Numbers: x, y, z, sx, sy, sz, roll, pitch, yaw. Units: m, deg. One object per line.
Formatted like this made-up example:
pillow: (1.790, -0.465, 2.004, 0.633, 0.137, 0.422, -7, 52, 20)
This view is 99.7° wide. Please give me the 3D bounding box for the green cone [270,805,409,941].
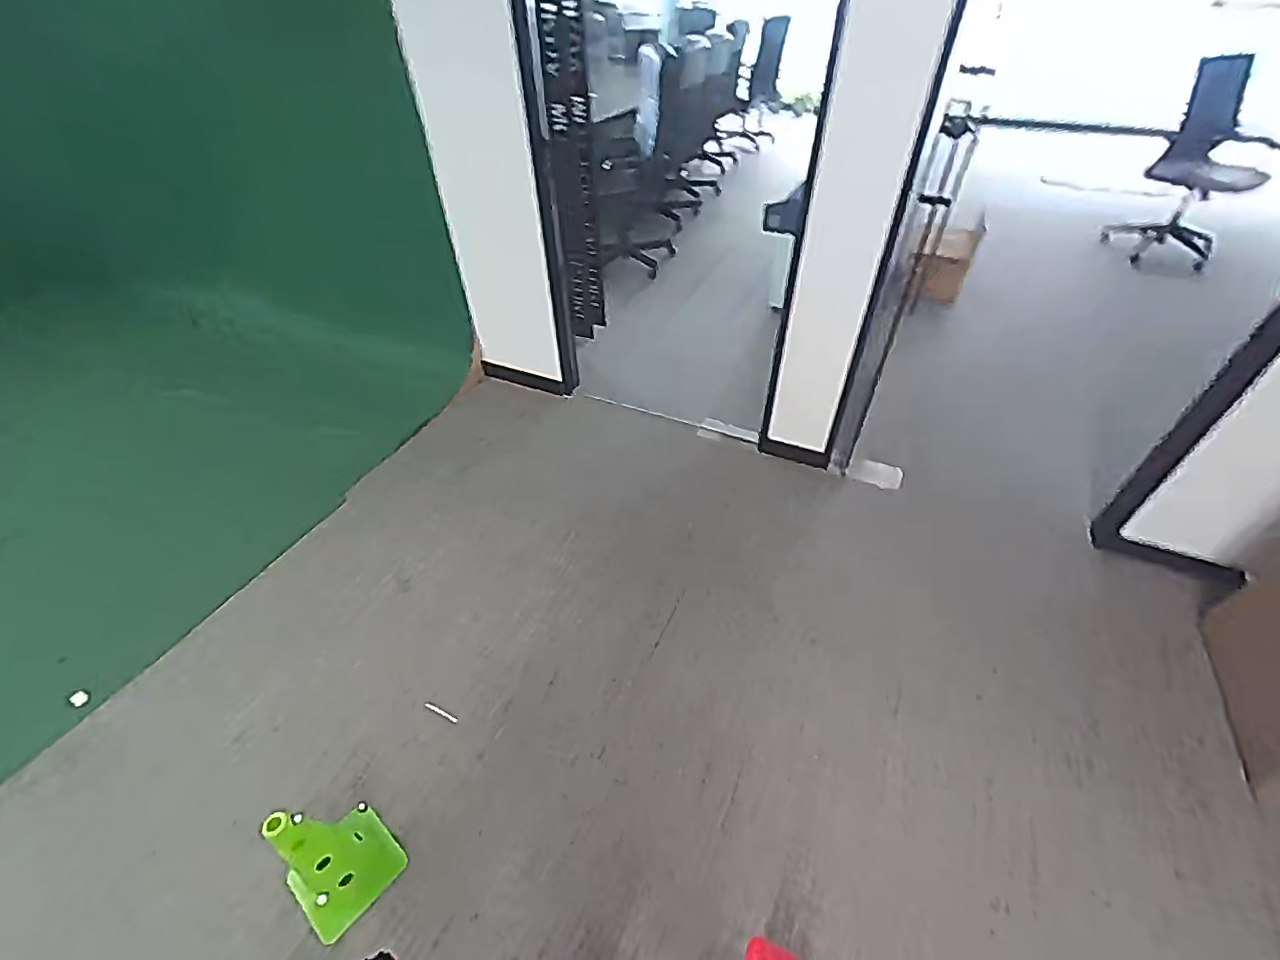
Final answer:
green cone: (-0.662, 0.759, 1.113, 0.202, 0.368, 0.200, 29, 51, 28)
